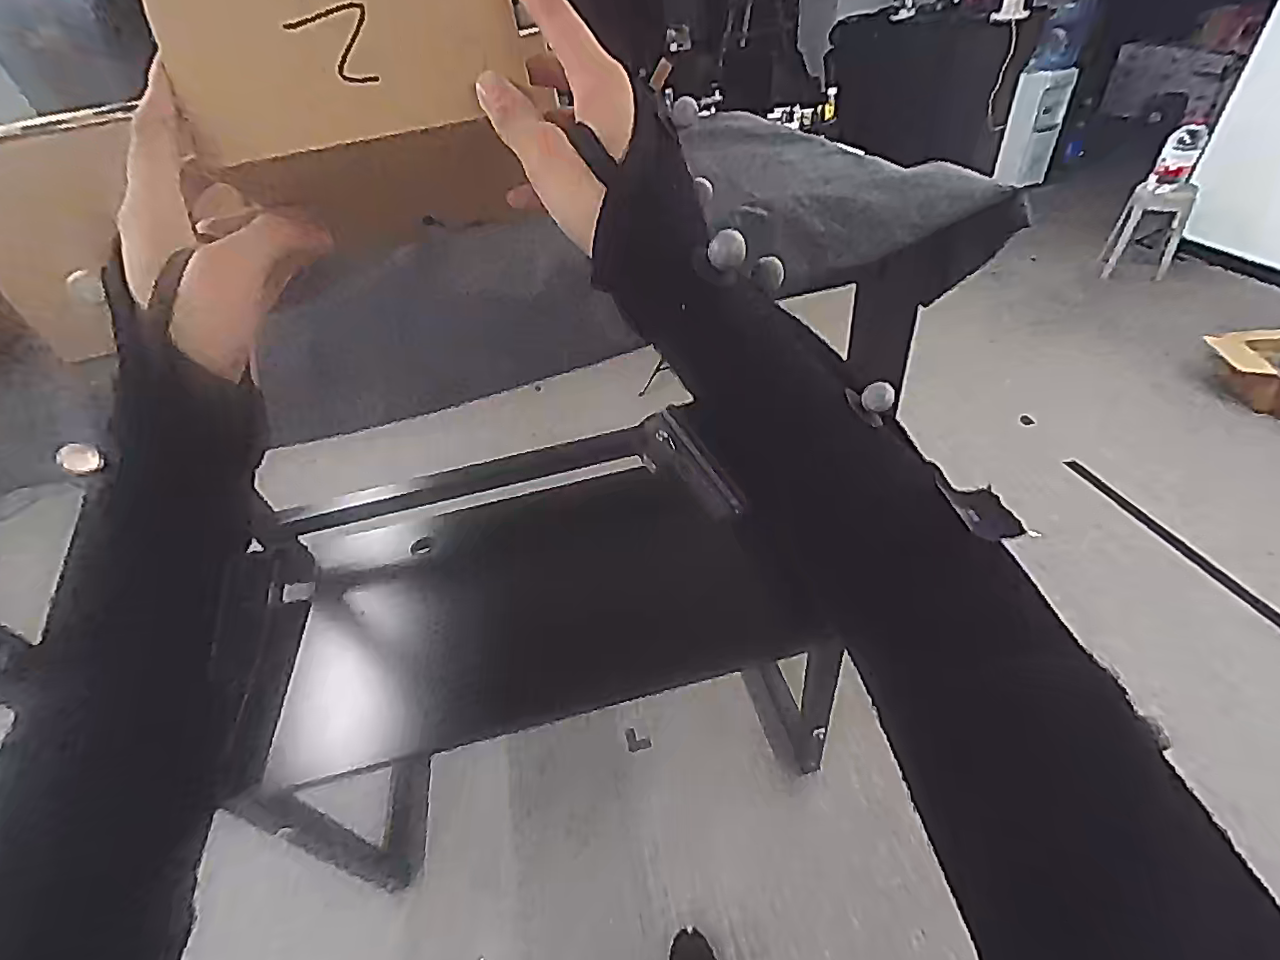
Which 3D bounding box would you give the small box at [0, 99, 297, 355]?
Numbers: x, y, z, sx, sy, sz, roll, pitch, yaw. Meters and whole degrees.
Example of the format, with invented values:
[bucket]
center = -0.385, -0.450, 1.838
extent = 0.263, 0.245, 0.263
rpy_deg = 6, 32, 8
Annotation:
[small box]
center = -0.467, -0.241, 0.513
extent = 0.179, 0.176, 0.168
rpy_deg = -15, 40, -7
